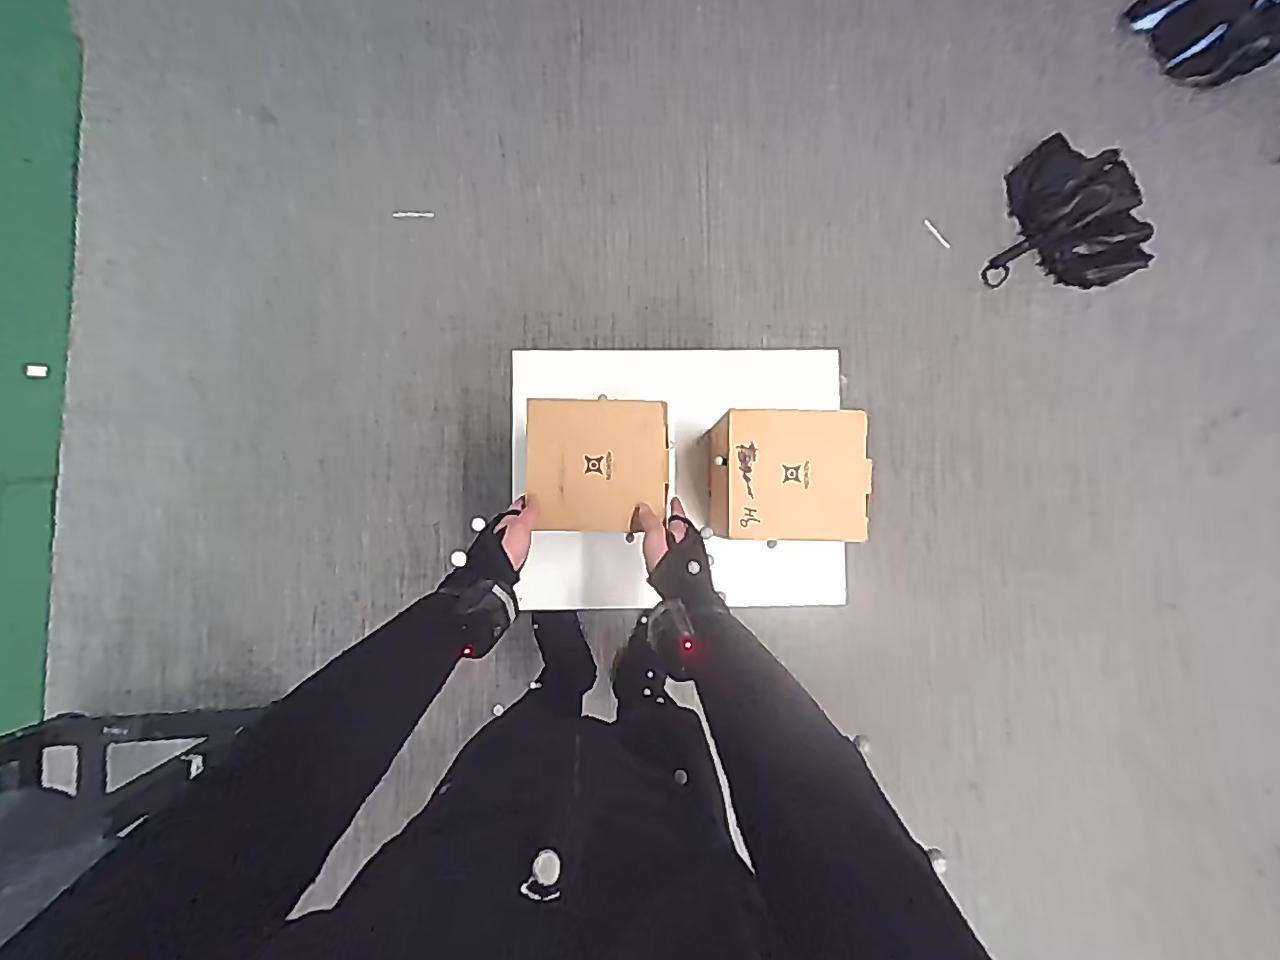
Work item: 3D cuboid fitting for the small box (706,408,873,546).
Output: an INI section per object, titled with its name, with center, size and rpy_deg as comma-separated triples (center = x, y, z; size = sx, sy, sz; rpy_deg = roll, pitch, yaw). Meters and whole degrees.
[small box]
center = 0.195, -0.001, 0.742
size = 0.179, 0.176, 0.168
rpy_deg = 2, 87, -3
